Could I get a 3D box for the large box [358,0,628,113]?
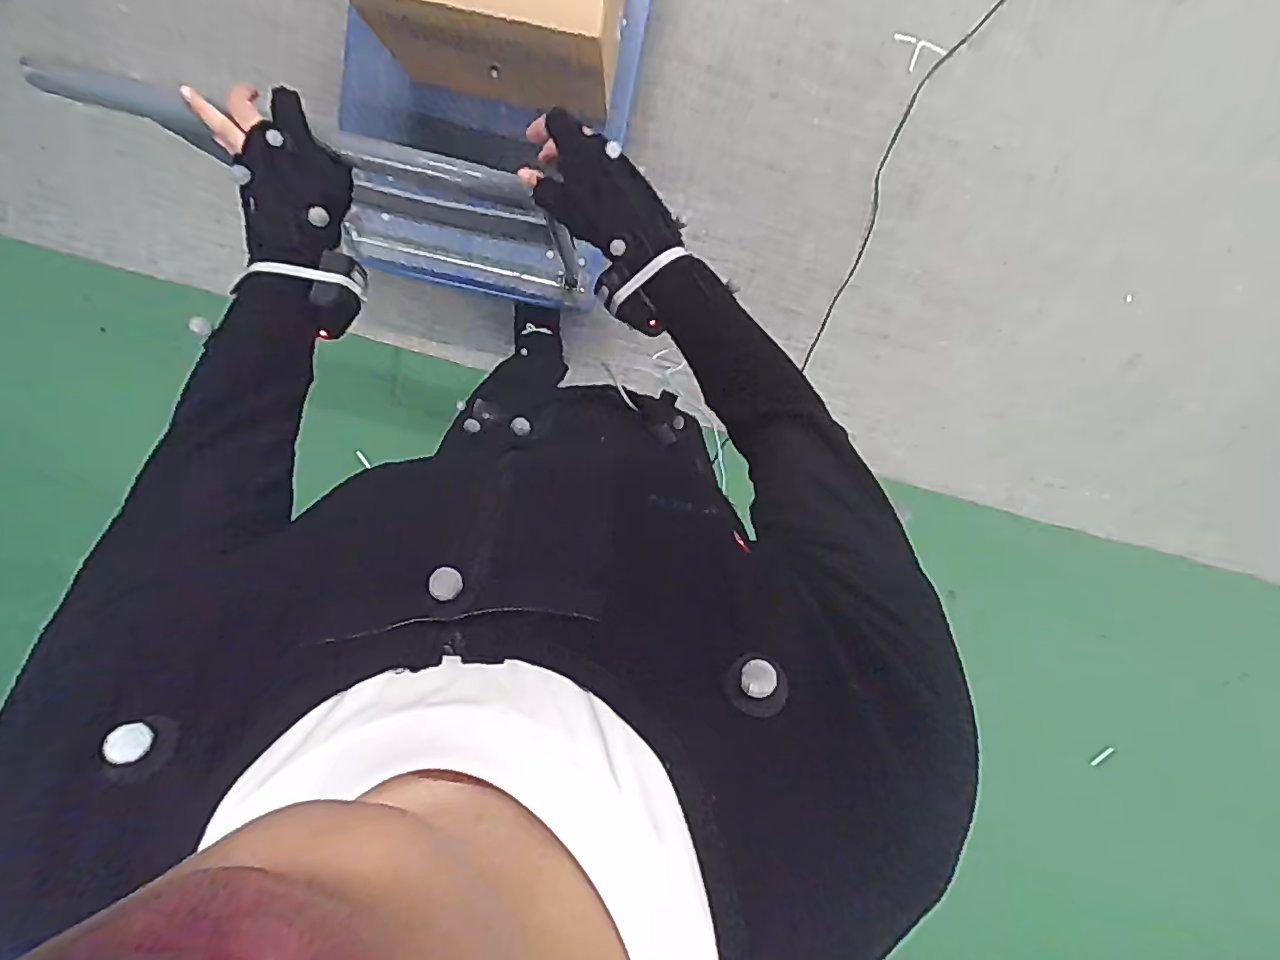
[{"bbox_3d":[-0.225,-0.891,0.927,0.408,0.320,0.320,10,102,-3],"label":"large box"}]
